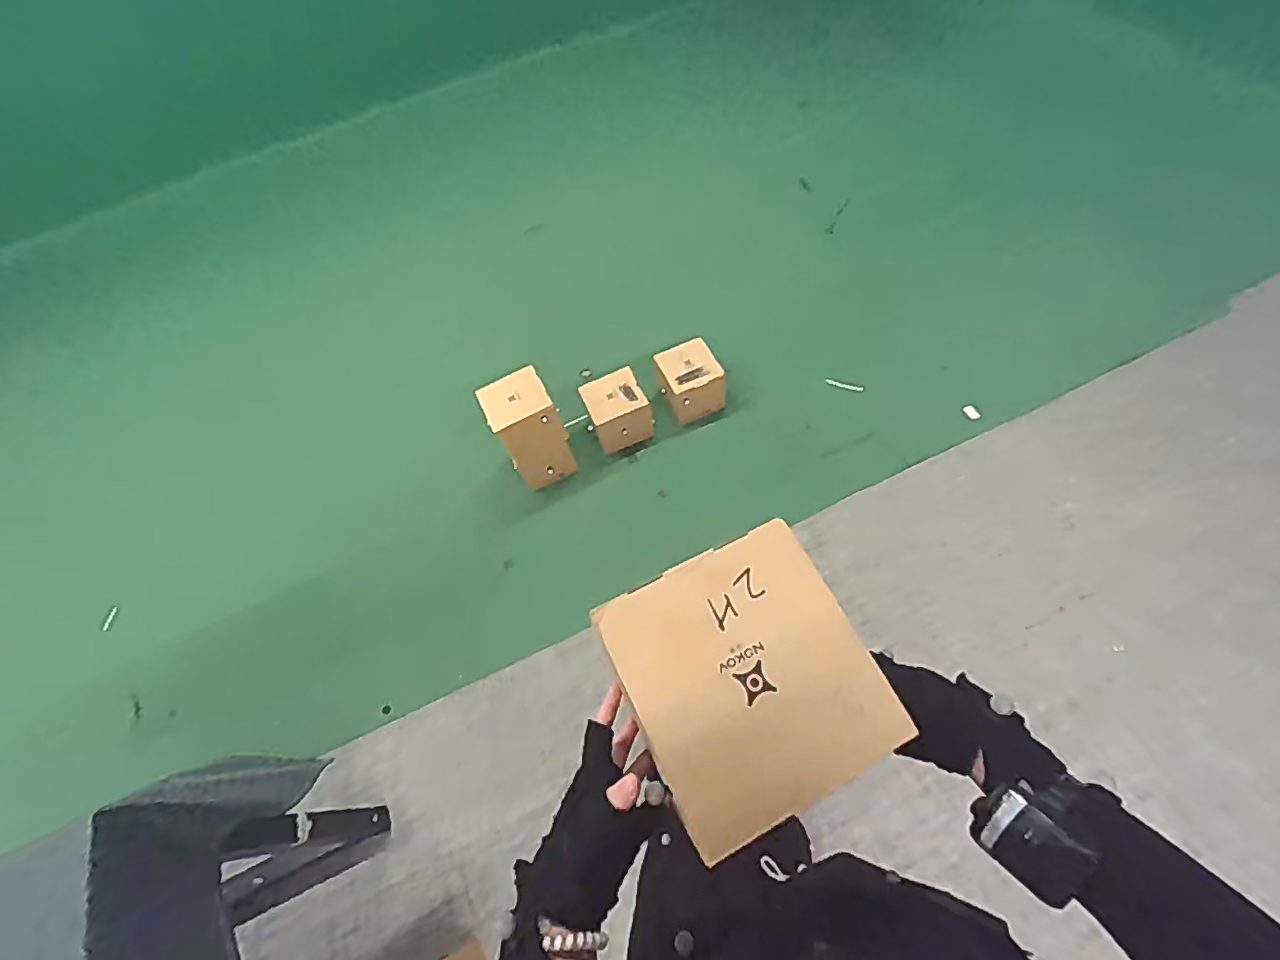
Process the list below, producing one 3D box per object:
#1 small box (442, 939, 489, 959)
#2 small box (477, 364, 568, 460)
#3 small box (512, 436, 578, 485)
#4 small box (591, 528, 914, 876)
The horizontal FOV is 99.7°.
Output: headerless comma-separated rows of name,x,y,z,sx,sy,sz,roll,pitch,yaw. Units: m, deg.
small box,-0.382,1.050,1.044,0.179,0.176,0.168,-36,63,-11
small box,-0.326,-0.184,1.522,0.179,0.176,0.168,-27,61,-7
small box,-0.308,-0.105,1.663,0.168,0.176,0.179,-26,62,-6
small box,0.072,0.169,0.443,0.168,0.176,0.179,-24,70,-12
